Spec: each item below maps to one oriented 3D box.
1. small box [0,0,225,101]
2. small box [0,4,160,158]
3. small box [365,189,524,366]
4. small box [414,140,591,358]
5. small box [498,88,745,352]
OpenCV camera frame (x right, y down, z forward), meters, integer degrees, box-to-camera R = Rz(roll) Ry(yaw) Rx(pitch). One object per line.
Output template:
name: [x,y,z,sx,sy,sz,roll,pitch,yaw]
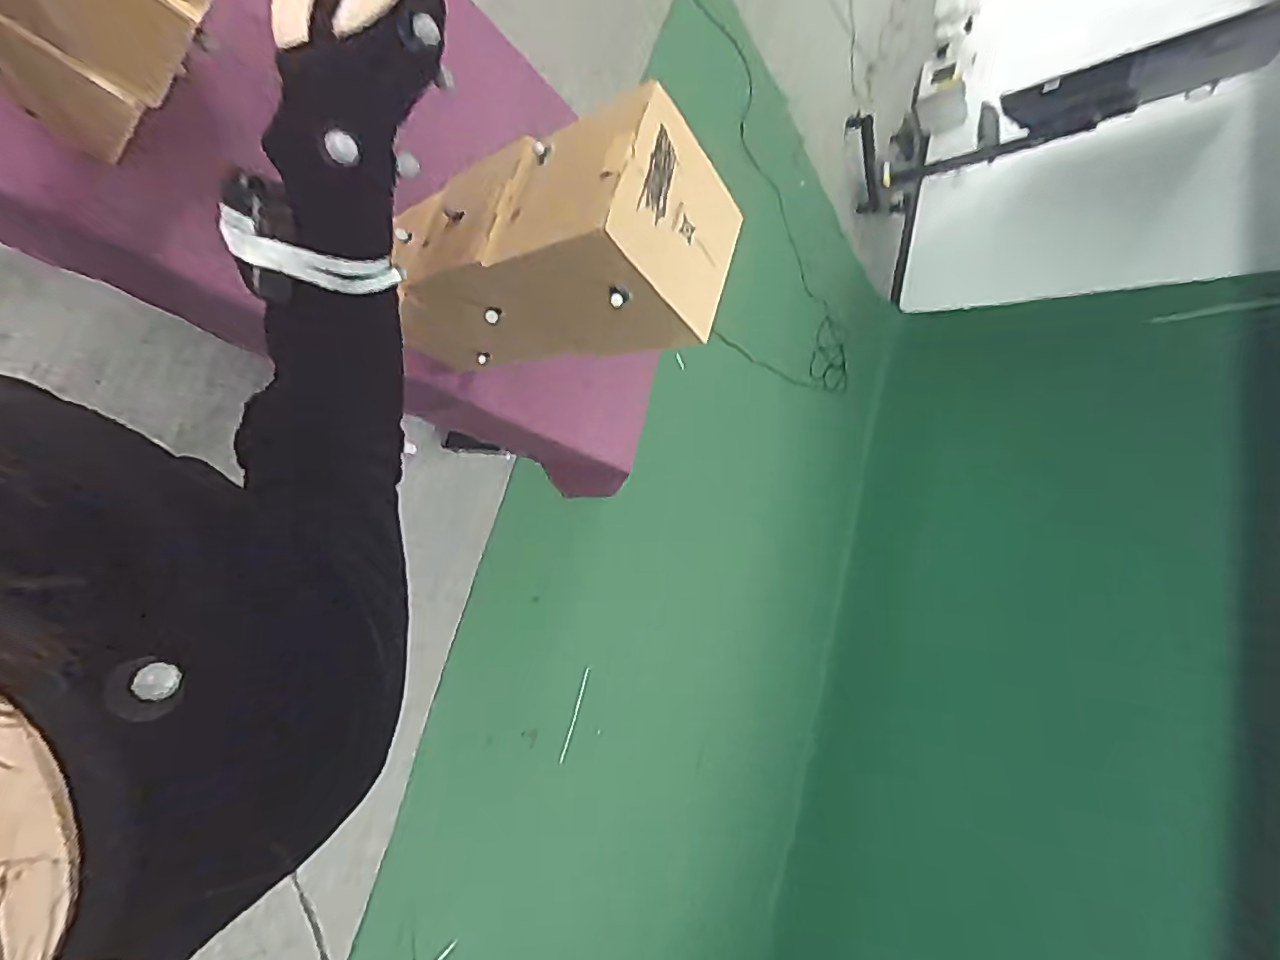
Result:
small box: [-0.392,-0.417,0.375,0.179,0.176,0.168,26,76,-48]
small box: [-0.518,-0.431,0.478,0.168,0.176,0.179,28,73,-47]
small box: [-0.265,-0.275,0.786,0.179,0.176,0.168,26,75,-47]
small box: [-0.146,-0.265,0.673,0.179,0.176,0.168,31,71,-46]
small box: [-0.018,-0.248,0.571,0.179,0.176,0.168,32,70,-47]
